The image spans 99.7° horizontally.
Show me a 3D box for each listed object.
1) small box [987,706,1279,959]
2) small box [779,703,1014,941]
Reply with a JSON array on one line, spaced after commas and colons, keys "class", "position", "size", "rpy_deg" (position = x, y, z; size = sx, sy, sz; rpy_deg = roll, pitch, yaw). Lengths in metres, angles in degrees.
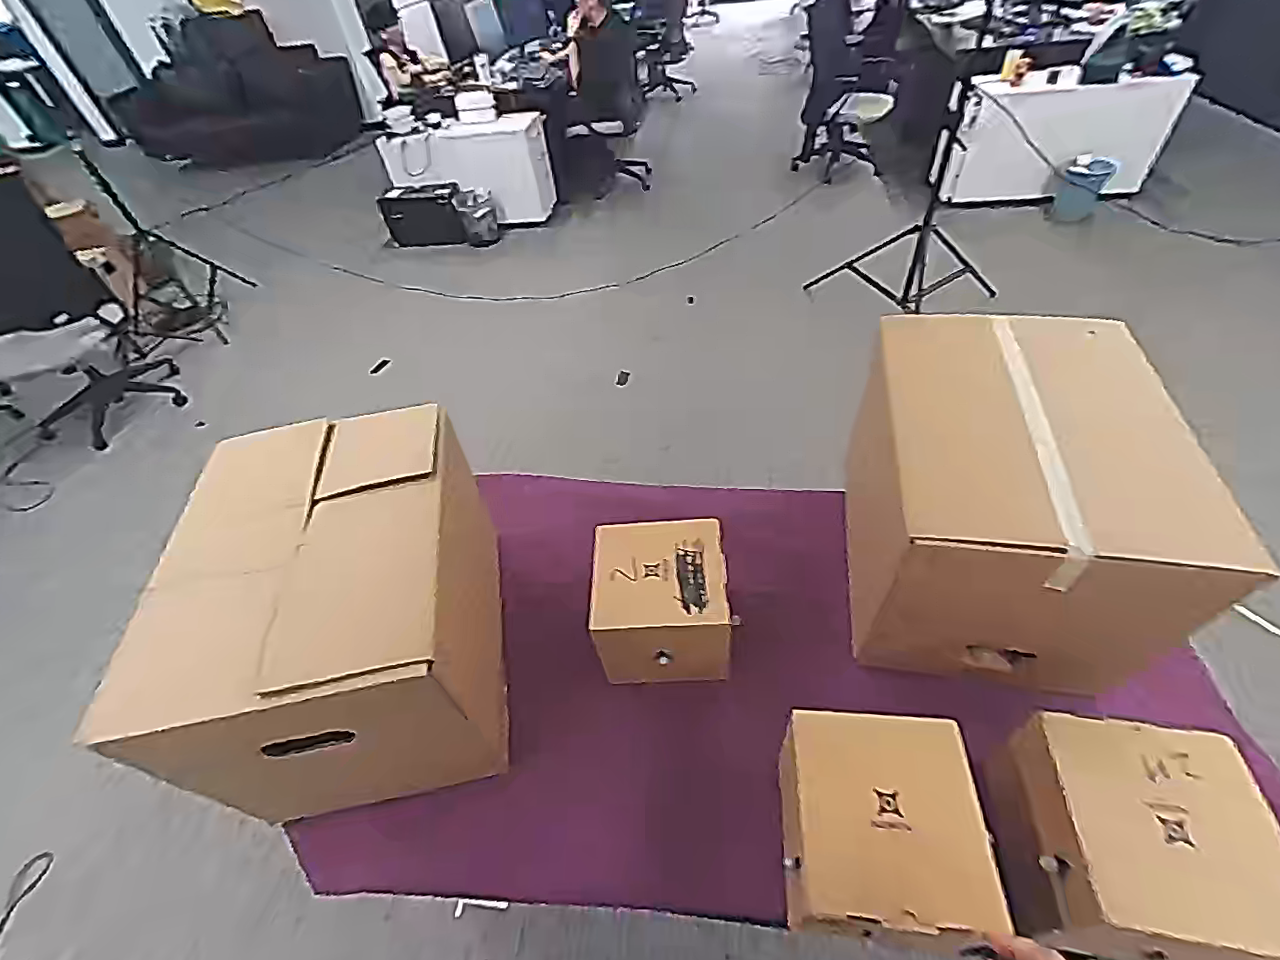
[{"class": "small box", "position": [0.478, 0.351, 0.534], "size": [0.168, 0.176, 0.179], "rpy_deg": [3, 46, 11]}, {"class": "small box", "position": [0.242, 0.357, 0.566], "size": [0.168, 0.176, 0.179], "rpy_deg": [0, 48, 8]}]
